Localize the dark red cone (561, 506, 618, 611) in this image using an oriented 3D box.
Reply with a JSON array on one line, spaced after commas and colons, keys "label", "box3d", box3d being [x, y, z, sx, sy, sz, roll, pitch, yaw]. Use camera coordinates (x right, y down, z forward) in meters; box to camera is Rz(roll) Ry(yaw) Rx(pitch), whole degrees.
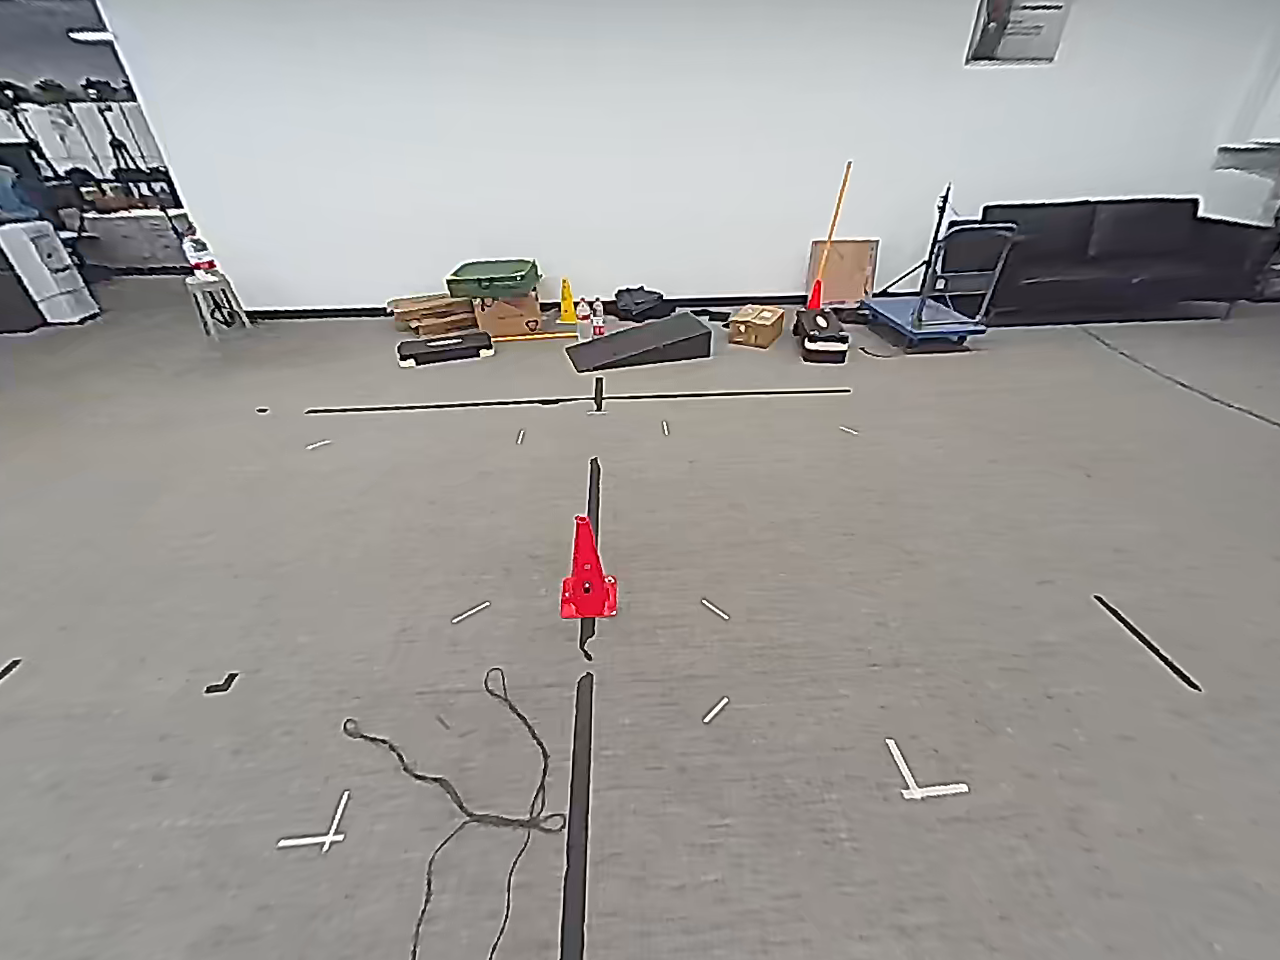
[{"label": "dark red cone", "box3d": [-0.184, 0.254, 1.852, 0.201, 0.394, 0.202, -3, 34, -2]}]
